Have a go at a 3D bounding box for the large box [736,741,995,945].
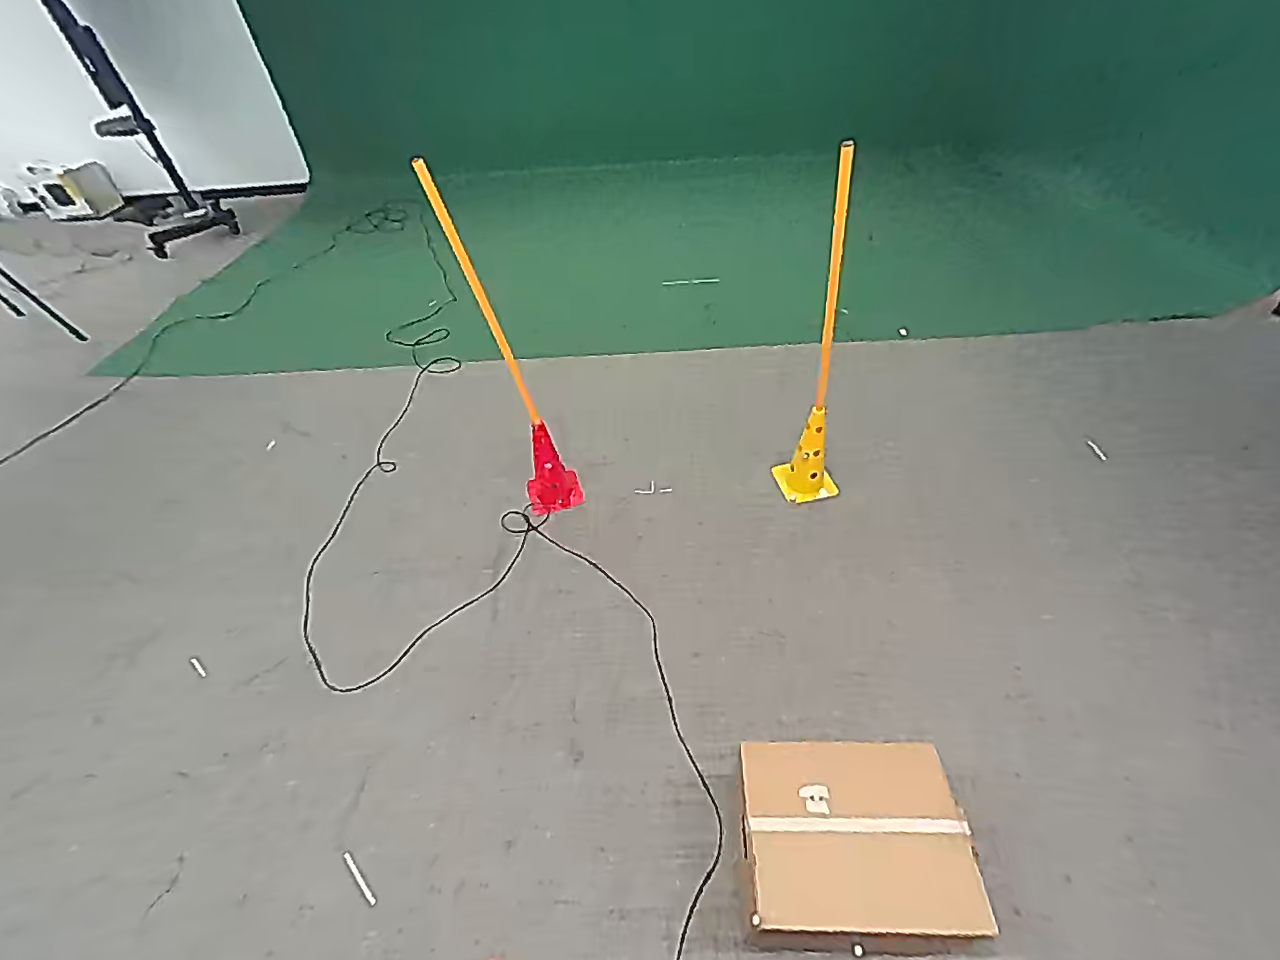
[{"bbox_3d":[0.424,0.767,1.138,0.408,0.320,0.320,-2,44,4],"label":"large box"}]
